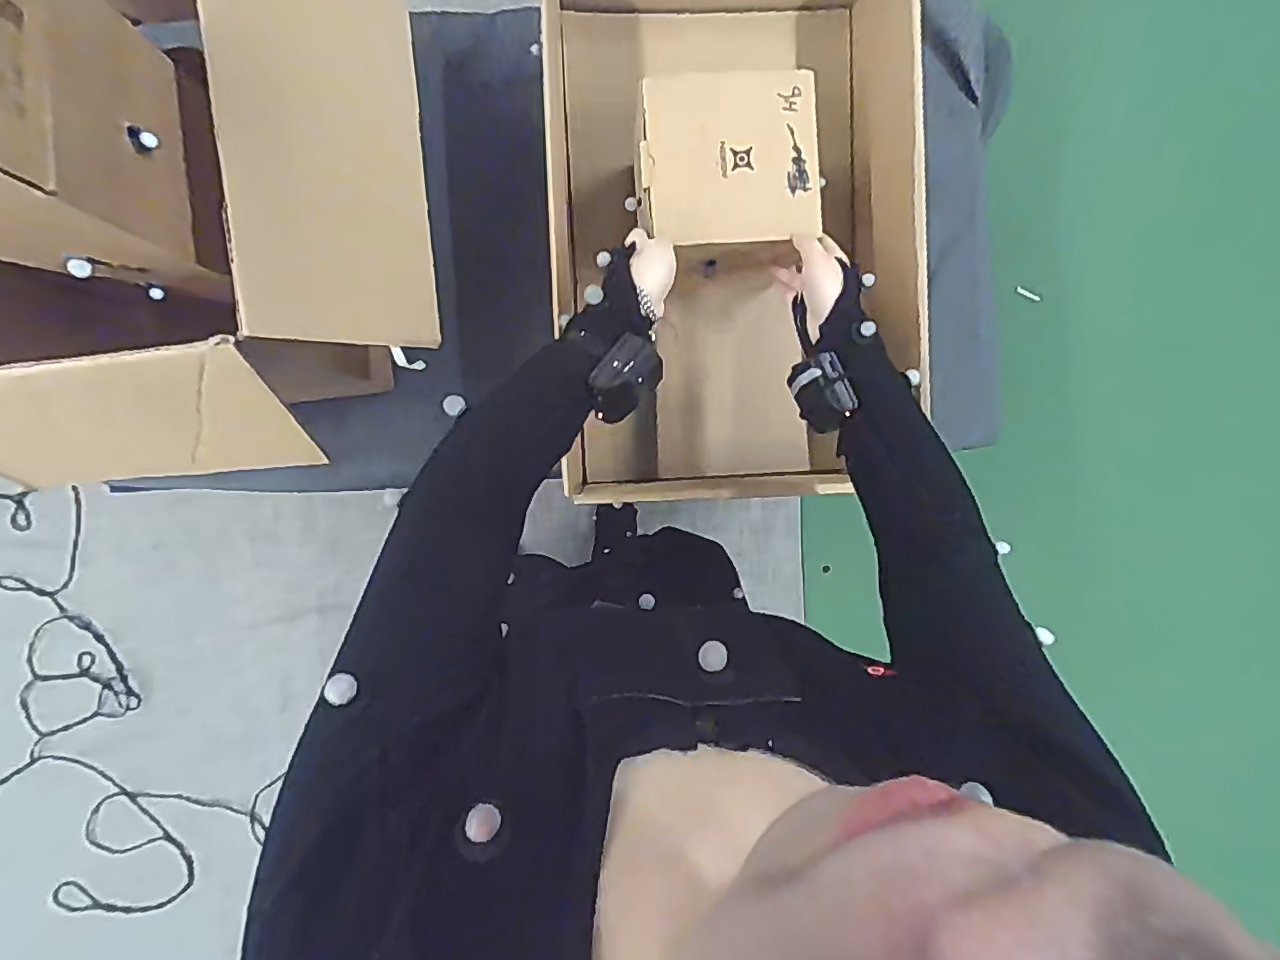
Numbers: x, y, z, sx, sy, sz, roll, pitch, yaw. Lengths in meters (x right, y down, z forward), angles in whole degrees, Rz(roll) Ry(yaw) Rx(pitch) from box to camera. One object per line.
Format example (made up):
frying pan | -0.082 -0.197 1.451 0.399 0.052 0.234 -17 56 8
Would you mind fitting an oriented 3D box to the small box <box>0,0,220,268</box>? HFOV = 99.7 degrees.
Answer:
small box | -0.489 -0.291 0.444 0.168 0.176 0.179 -1 95 -4
